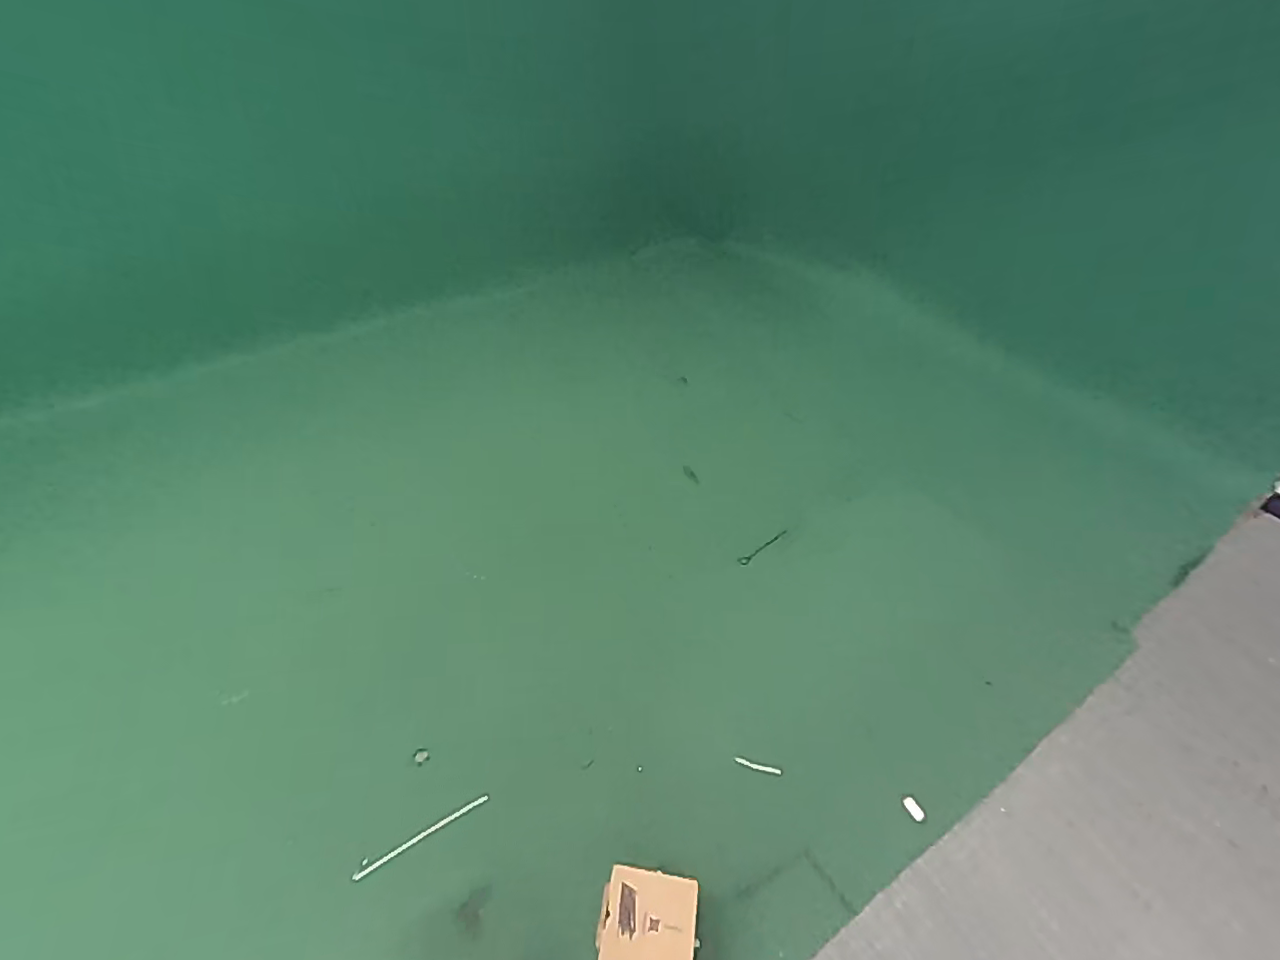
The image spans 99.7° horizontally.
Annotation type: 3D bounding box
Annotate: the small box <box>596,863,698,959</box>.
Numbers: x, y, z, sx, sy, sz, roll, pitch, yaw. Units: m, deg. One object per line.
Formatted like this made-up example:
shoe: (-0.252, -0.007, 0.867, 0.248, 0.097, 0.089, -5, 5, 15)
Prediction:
small box: (0.016, 0.899, 1.084, 0.179, 0.176, 0.168, 8, 46, 6)
